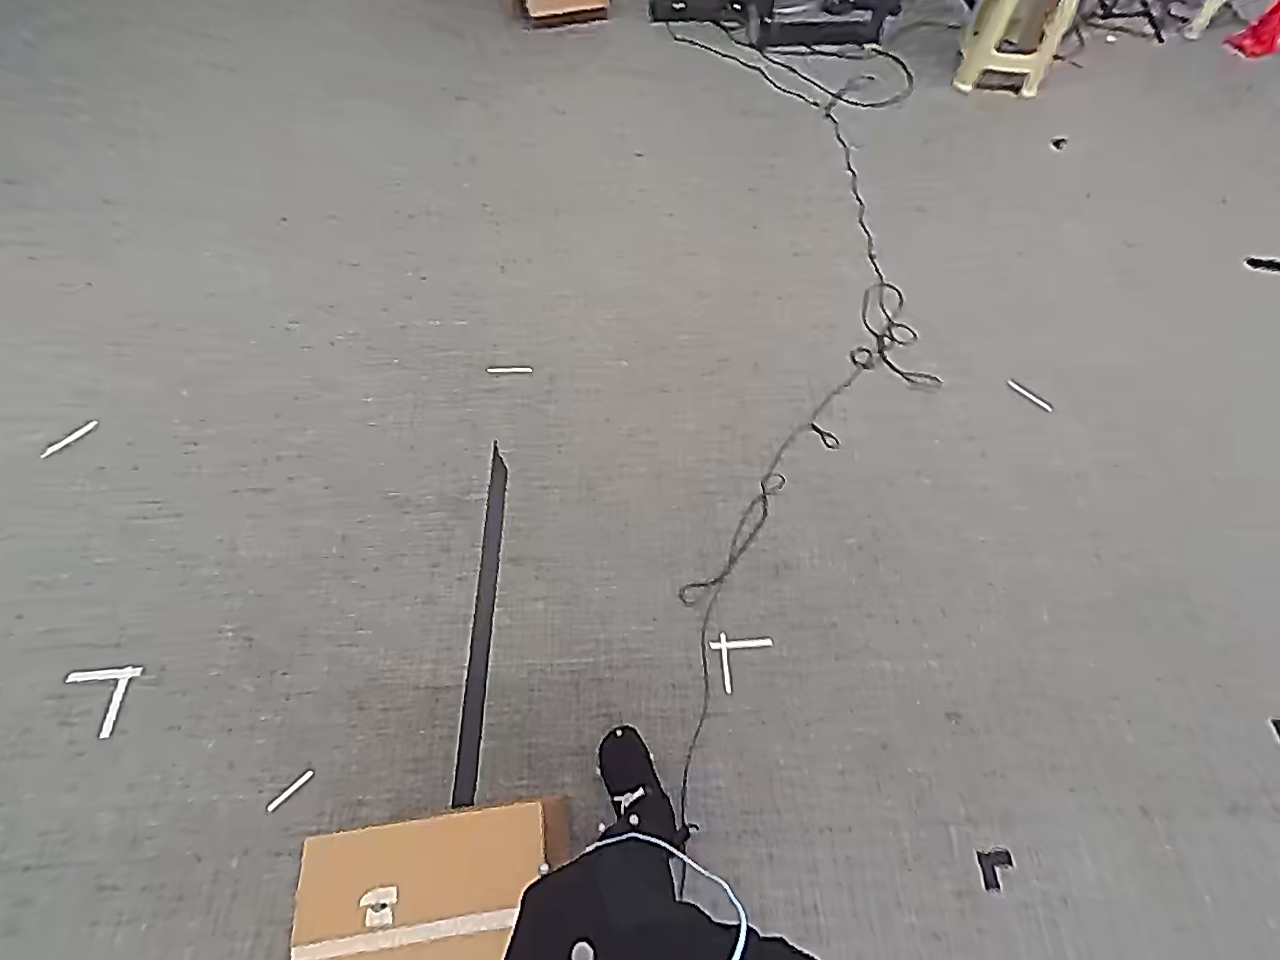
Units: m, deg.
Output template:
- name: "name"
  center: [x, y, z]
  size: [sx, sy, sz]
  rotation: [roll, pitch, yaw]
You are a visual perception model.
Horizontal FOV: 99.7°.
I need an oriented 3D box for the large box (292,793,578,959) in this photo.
- name: "large box"
  center: [-0.342, 0.783, 0.986]
  size: [0.408, 0.320, 0.320]
  rotation: [-8, 61, -1]
